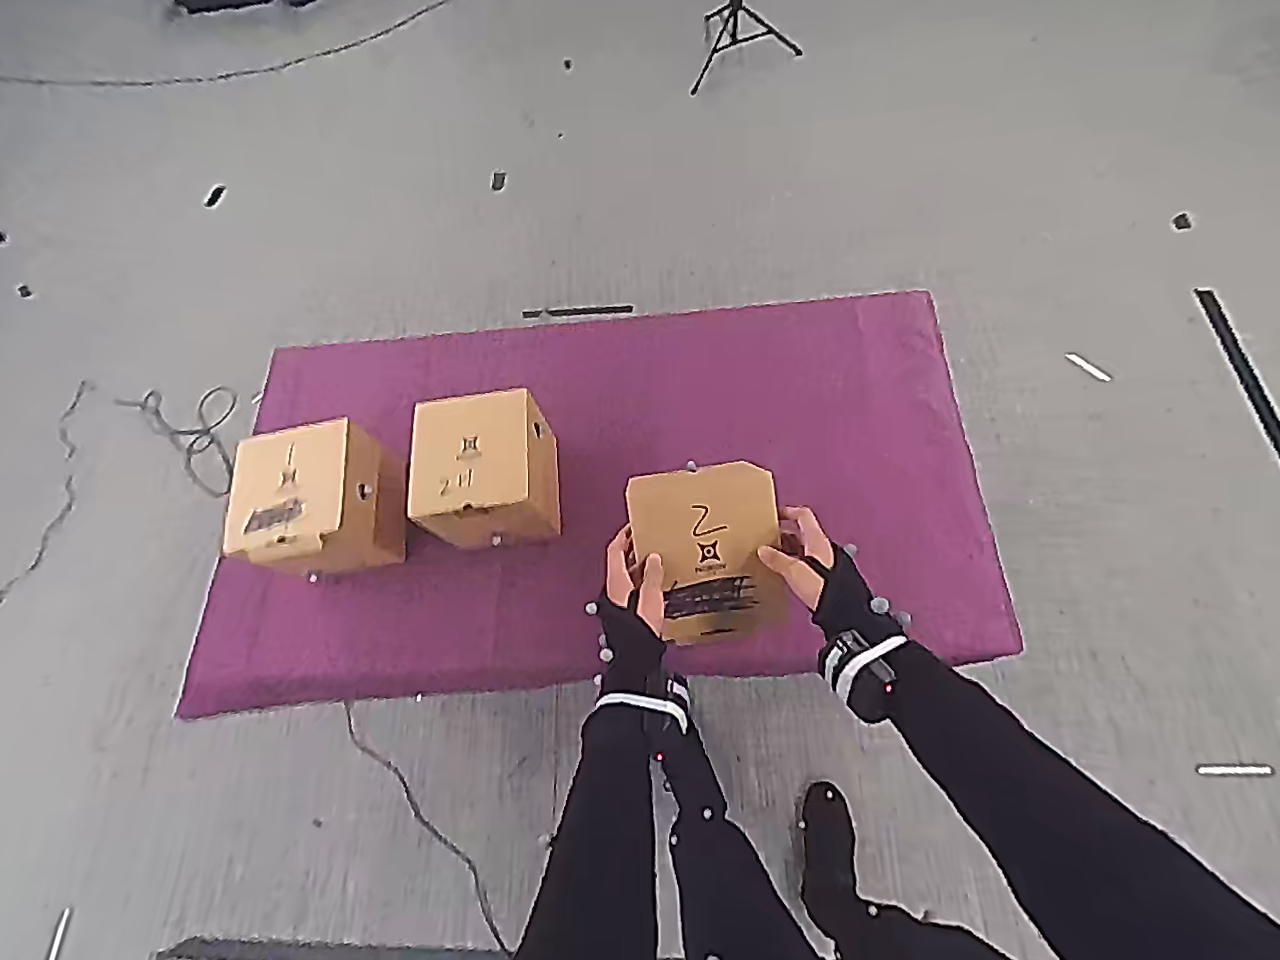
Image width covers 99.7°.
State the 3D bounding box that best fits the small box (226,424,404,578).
[{"bbox_3d":[-0.477,0.043,0.822,0.168,0.176,0.179,-12,66,2],"label":"small box"}]

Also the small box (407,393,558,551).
[{"bbox_3d":[-0.225,-0.005,0.812,0.168,0.176,0.179,-8,68,4],"label":"small box"}]
